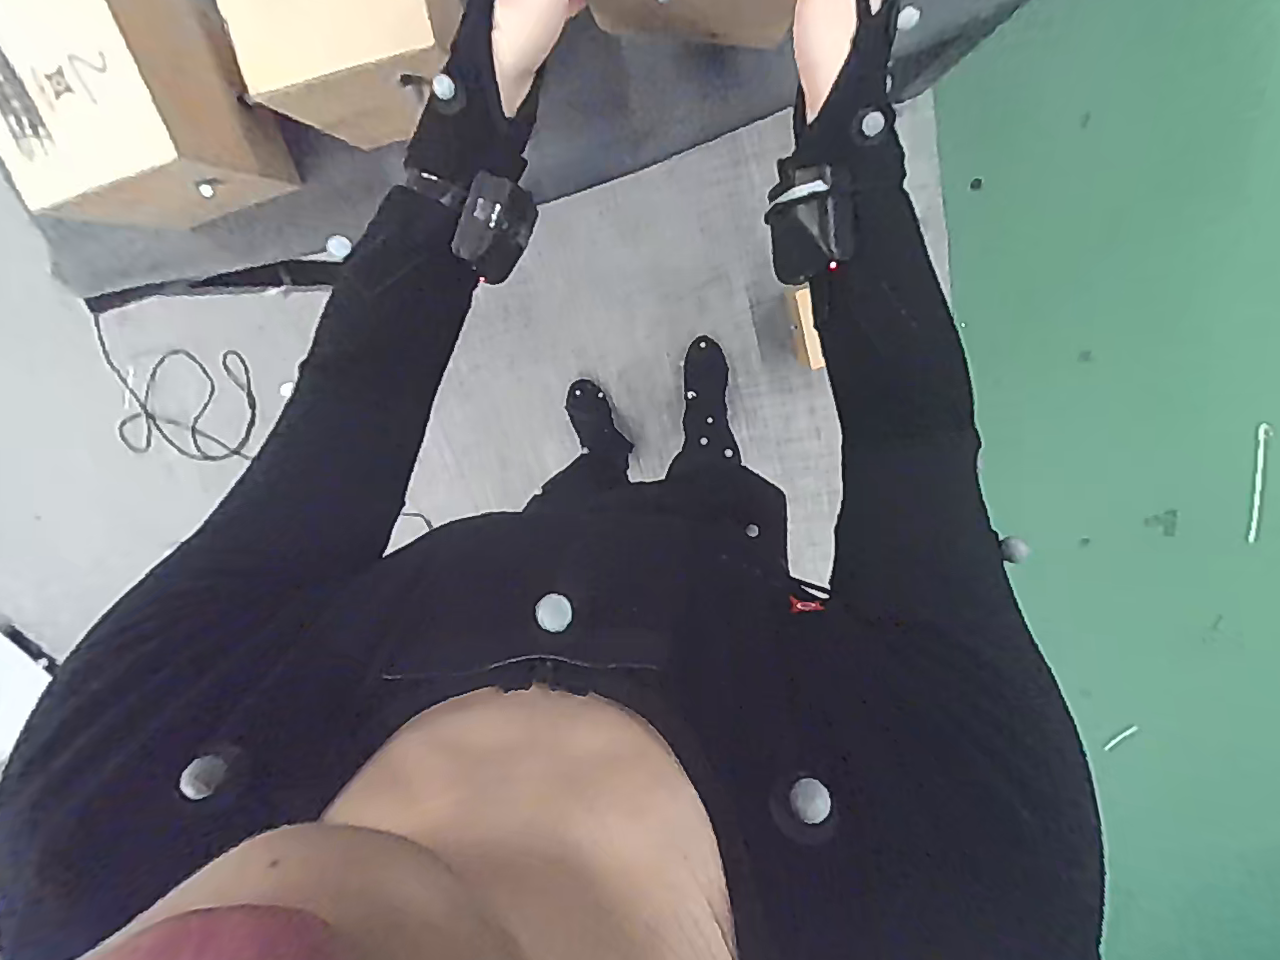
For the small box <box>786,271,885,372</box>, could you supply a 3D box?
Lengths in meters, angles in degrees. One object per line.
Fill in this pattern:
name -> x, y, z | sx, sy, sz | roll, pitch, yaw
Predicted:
small box -> 0.438, -0.363, 1.227 | 0.168, 0.176, 0.179 | -14, 107, 11
